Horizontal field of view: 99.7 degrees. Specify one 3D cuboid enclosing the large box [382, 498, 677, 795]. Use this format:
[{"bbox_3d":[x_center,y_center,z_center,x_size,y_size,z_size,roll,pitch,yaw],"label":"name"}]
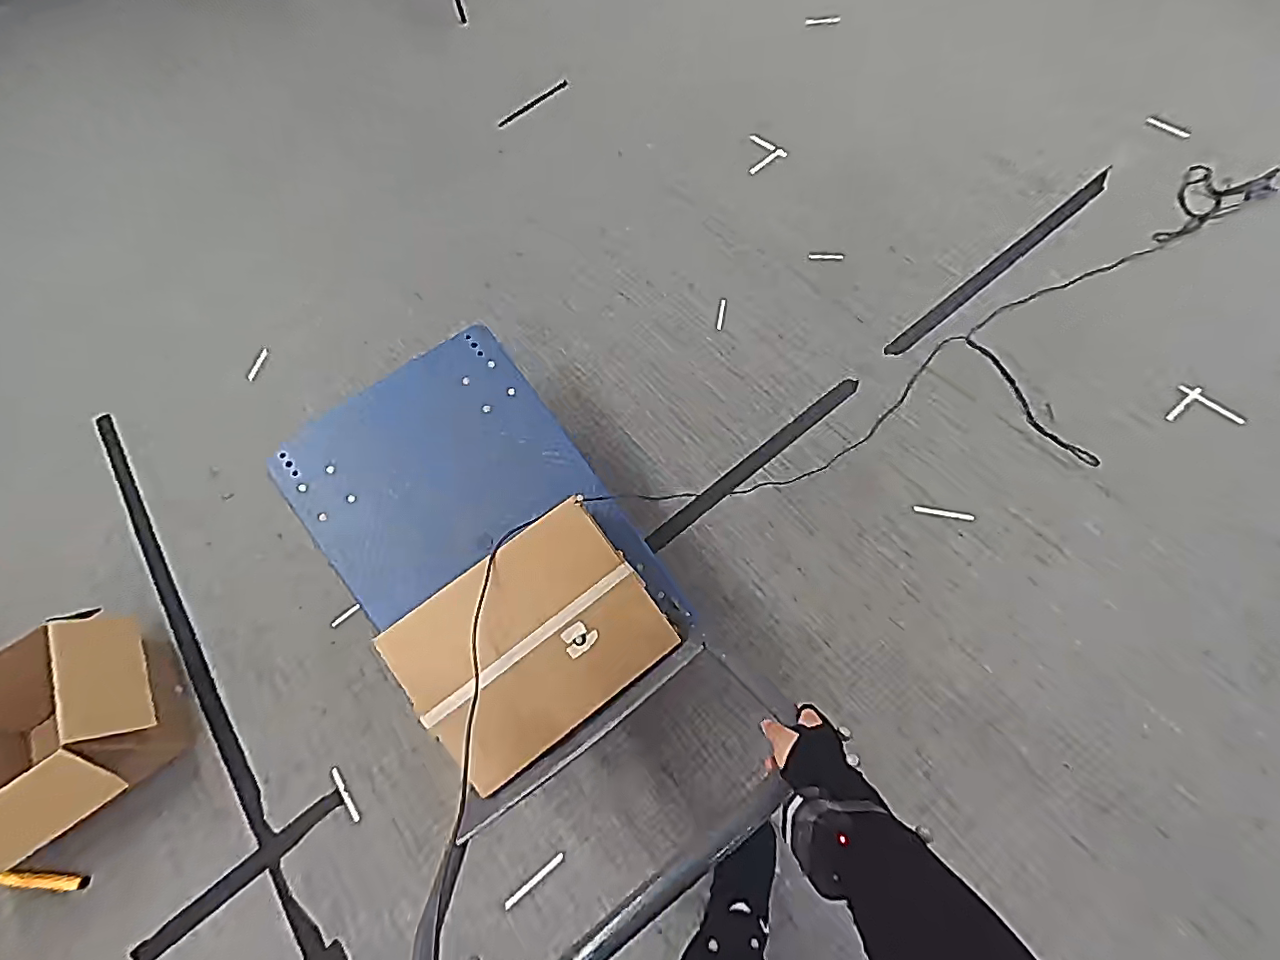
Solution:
[{"bbox_3d":[-0.195,0.292,1.052,0.408,0.320,0.320,-37,88,-10],"label":"large box"}]
